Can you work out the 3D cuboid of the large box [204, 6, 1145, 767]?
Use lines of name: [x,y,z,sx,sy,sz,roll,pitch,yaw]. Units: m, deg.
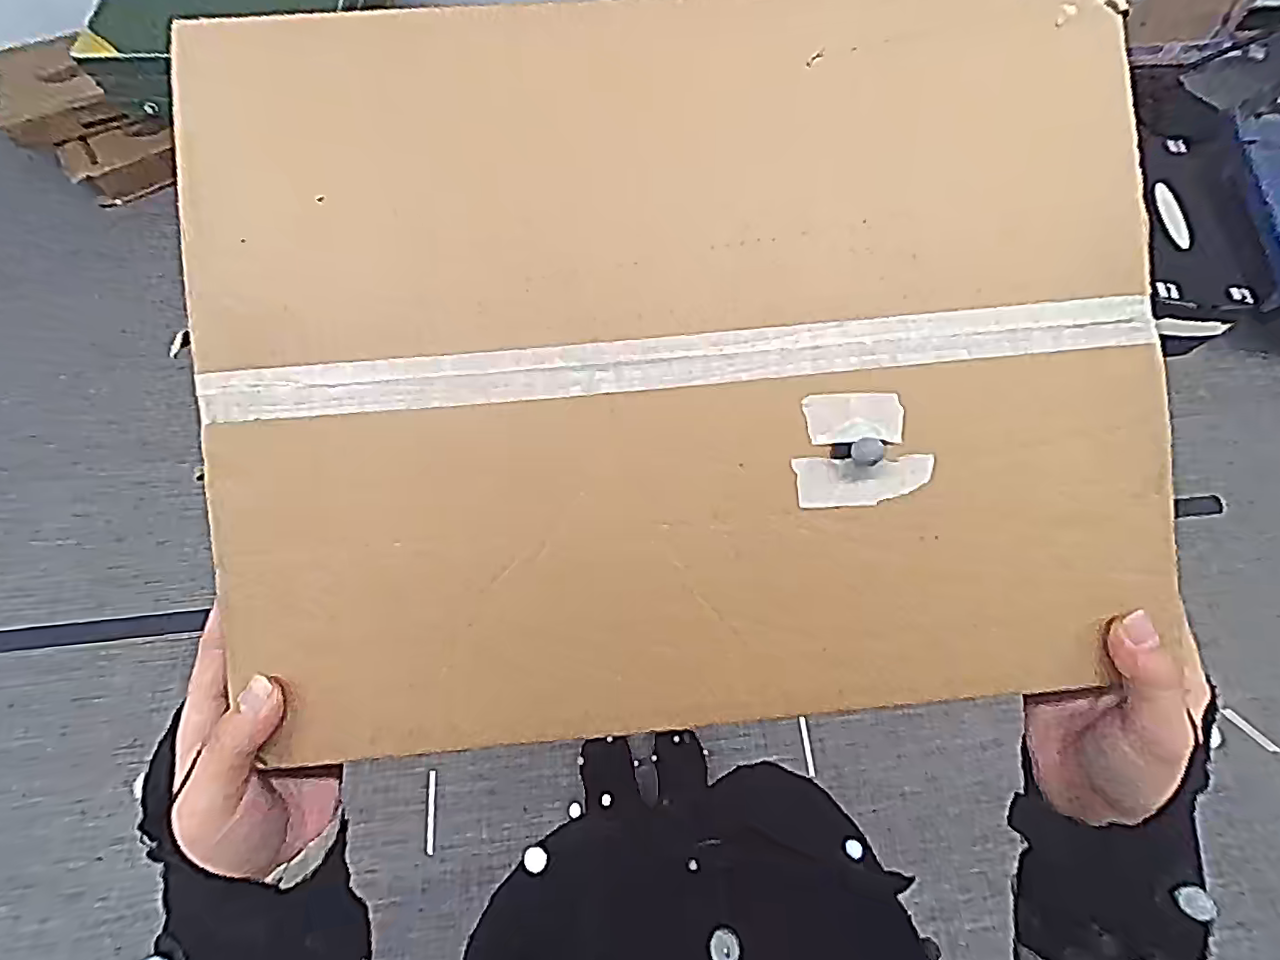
large box: [0.014,-0.047,0.389,0.408,0.320,0.320,-5,91,-3]
